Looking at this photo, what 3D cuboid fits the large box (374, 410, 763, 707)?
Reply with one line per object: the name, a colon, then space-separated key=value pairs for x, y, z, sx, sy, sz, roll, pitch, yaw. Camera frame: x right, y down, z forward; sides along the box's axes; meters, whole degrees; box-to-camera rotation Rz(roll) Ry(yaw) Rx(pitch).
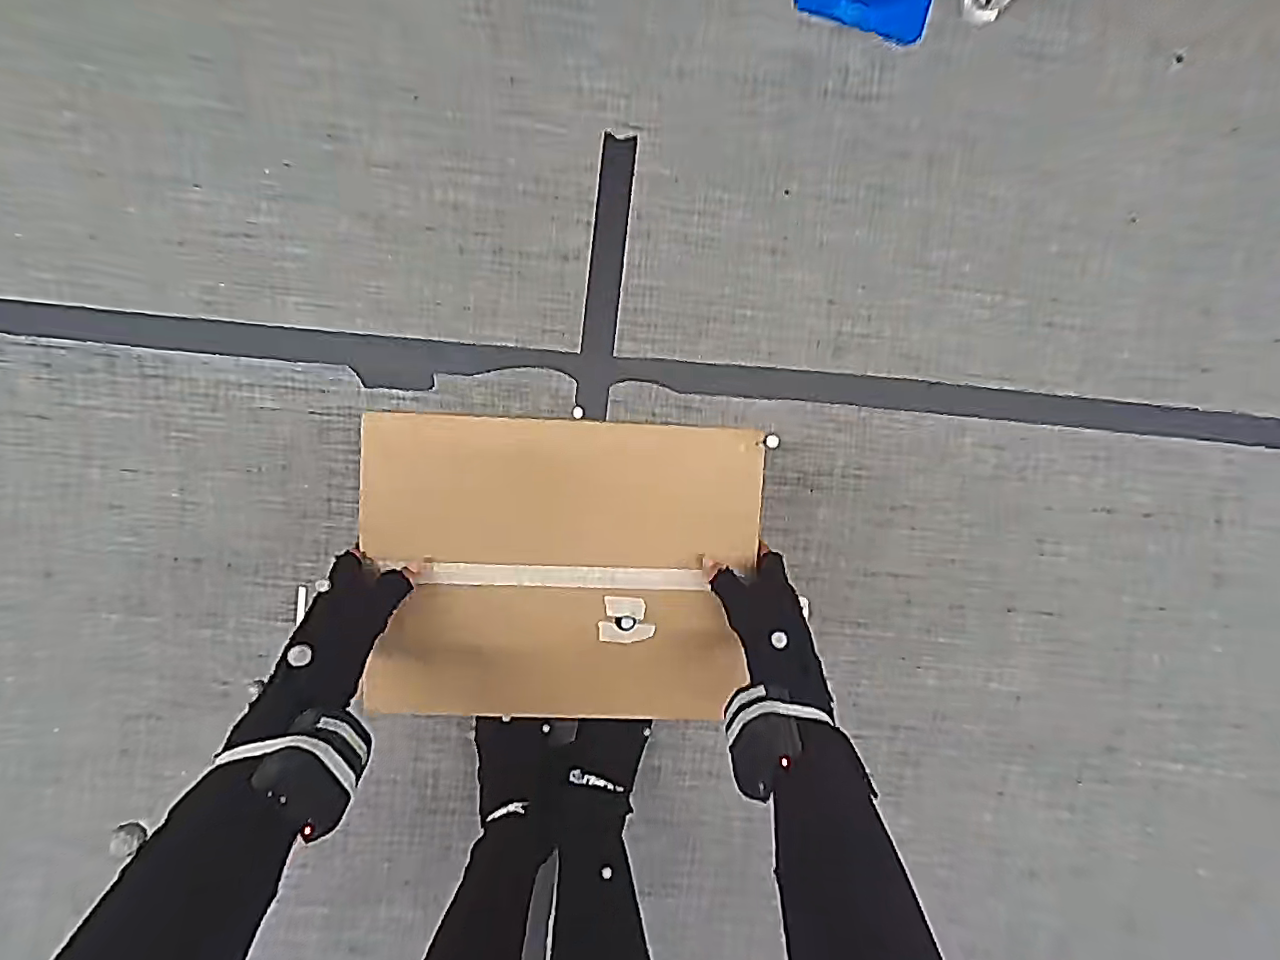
large box: x=-0.084 y=0.077 z=0.712 sx=0.408 sy=0.320 sz=0.320 roll=2 pitch=96 yaw=-4
